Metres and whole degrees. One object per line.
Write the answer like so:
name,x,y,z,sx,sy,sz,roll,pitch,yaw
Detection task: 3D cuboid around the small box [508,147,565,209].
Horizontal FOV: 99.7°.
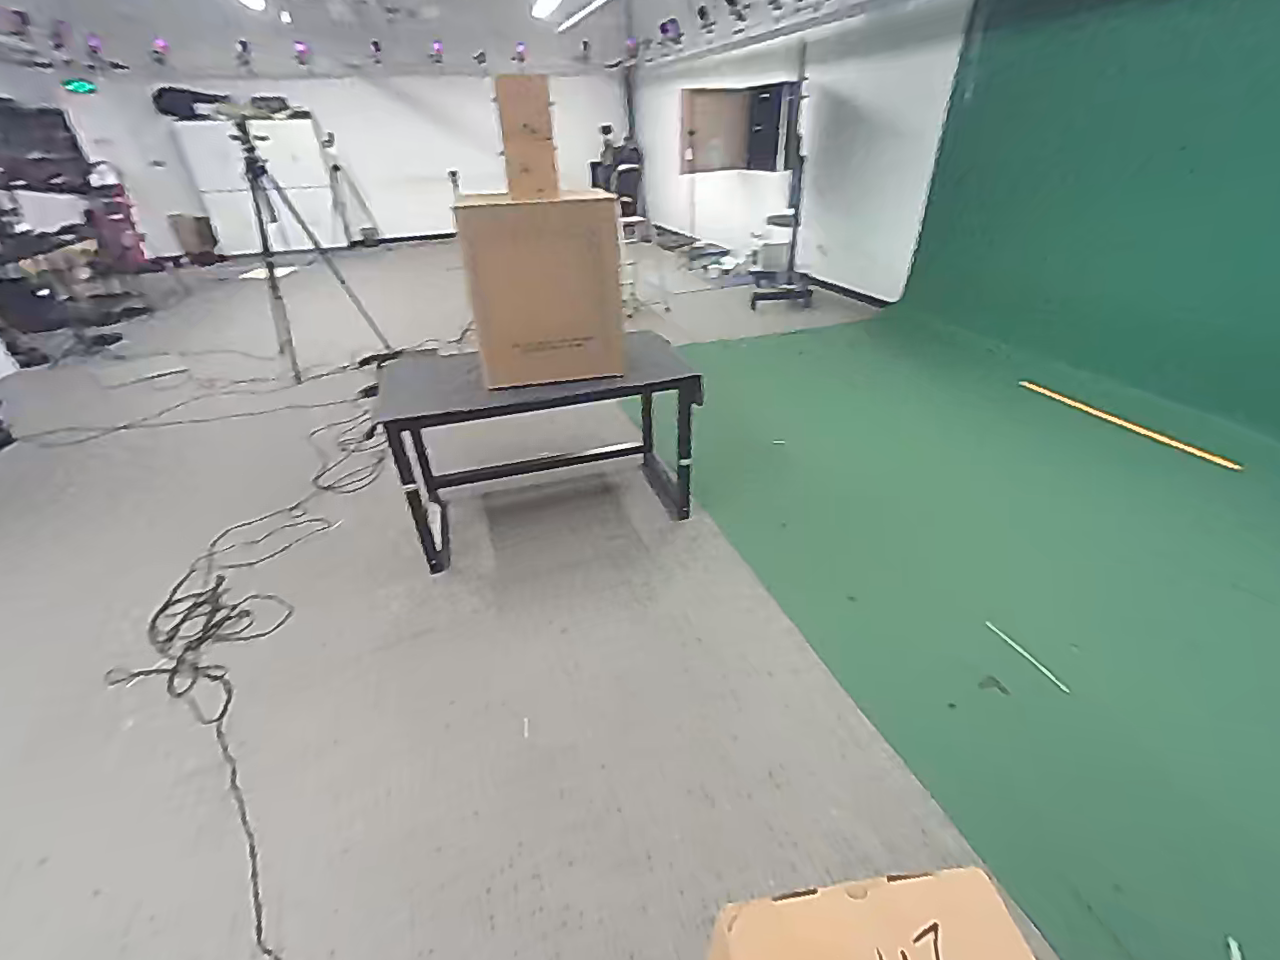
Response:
small box,-0.341,-1.001,1.793,0.168,0.176,0.179,-7,34,-8
